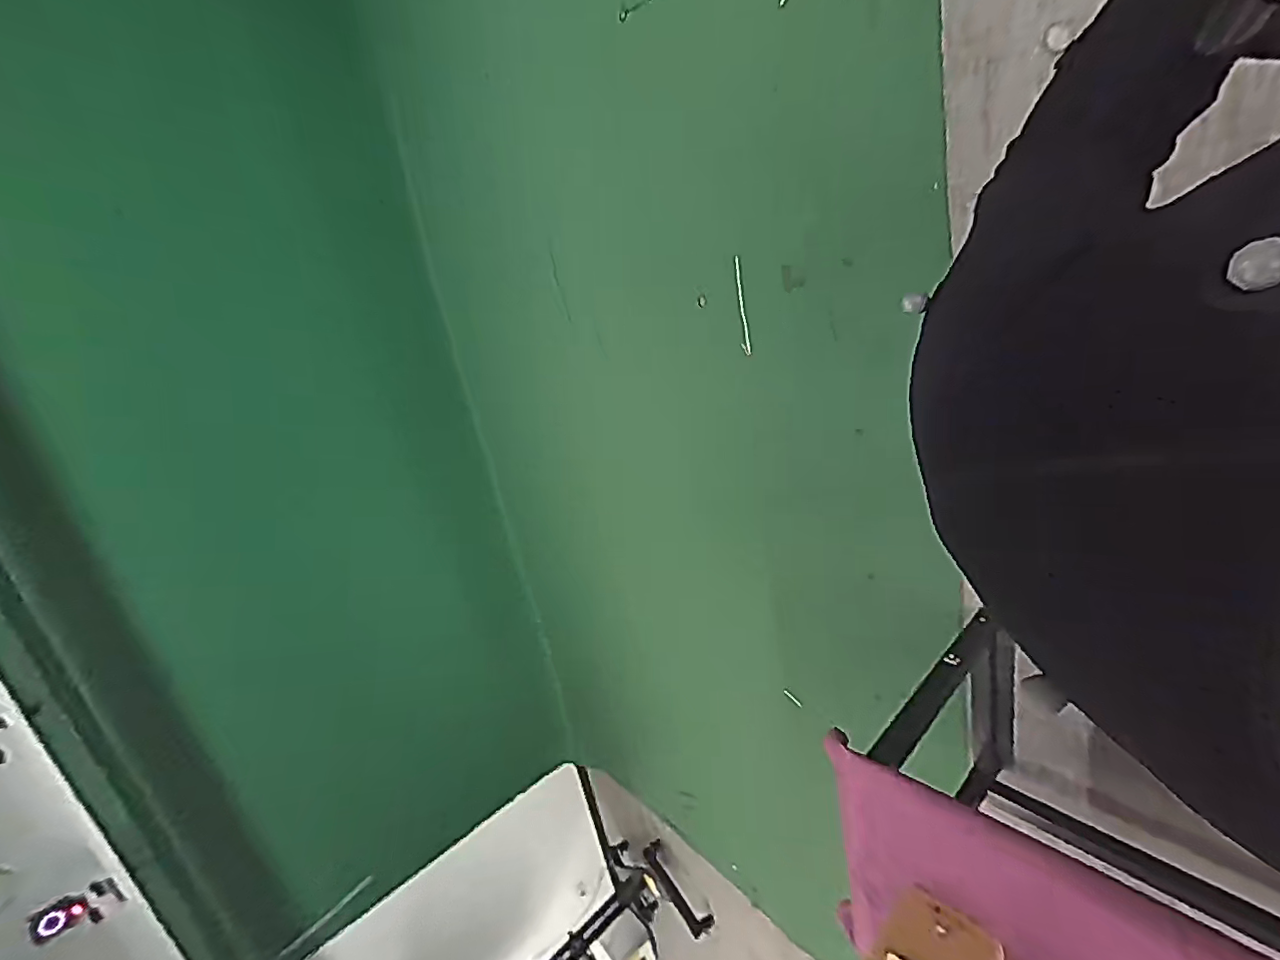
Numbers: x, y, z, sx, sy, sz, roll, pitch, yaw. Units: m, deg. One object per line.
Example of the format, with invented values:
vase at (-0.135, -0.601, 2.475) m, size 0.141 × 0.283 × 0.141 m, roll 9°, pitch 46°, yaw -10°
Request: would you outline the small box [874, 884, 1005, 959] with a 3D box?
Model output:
small box at (0.563, 0.924, 1.008) m, size 0.168 × 0.176 × 0.179 m, roll 6°, pitch 115°, yaw 50°
